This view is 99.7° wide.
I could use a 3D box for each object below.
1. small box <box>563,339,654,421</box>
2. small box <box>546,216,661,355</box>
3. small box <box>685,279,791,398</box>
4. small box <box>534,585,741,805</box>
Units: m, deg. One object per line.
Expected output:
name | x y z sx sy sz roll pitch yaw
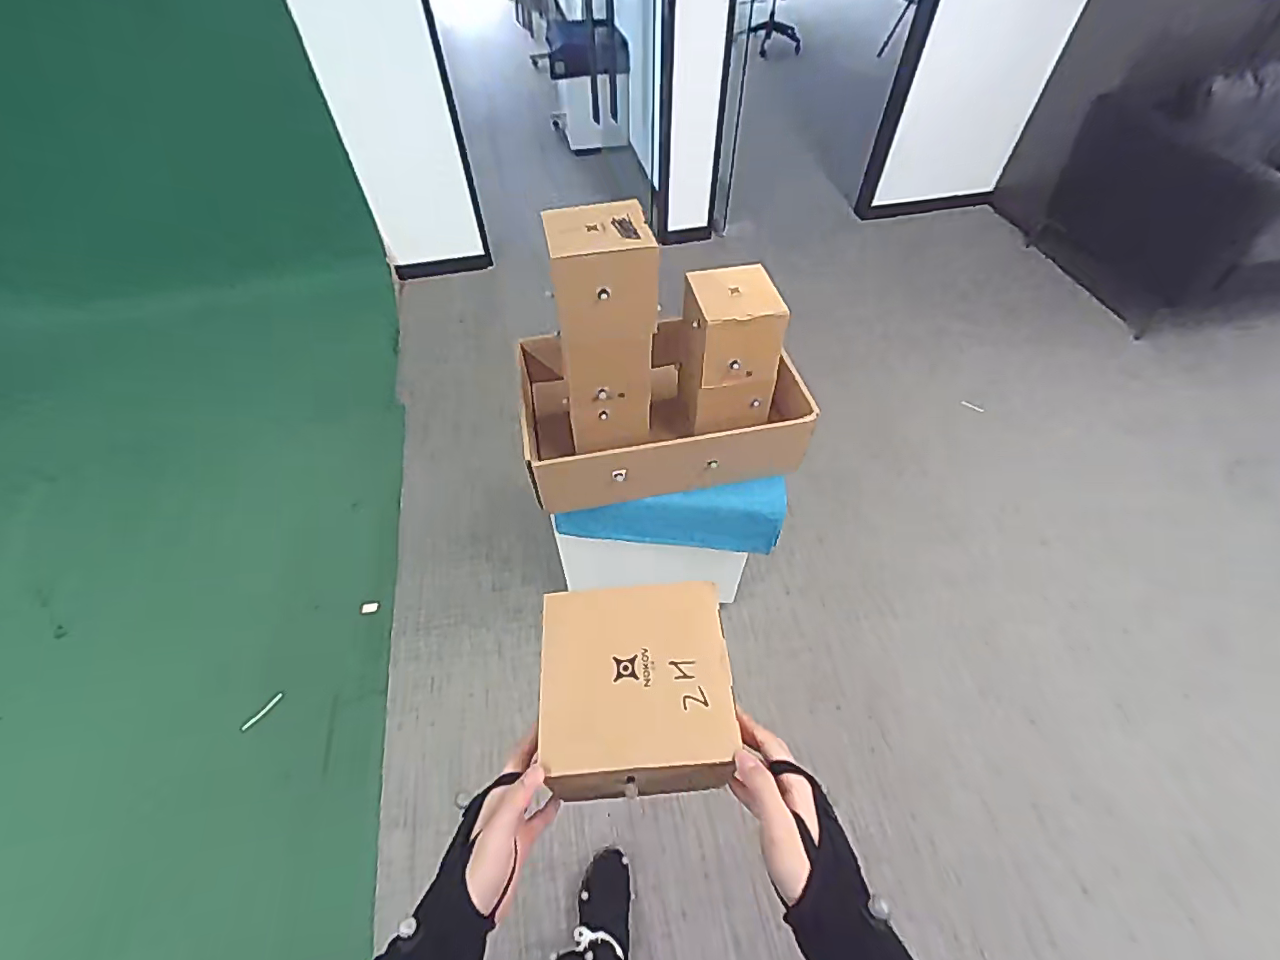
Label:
small box | -0.070 -0.245 1.098 0.168 0.176 0.179 -8 51 -7
small box | -0.066 -0.345 0.969 0.179 0.176 0.168 -10 50 -7
small box | 0.194 -0.295 1.135 0.168 0.176 0.179 -9 51 -6
small box | -0.003 0.225 0.557 0.179 0.176 0.168 -4 52 -2
